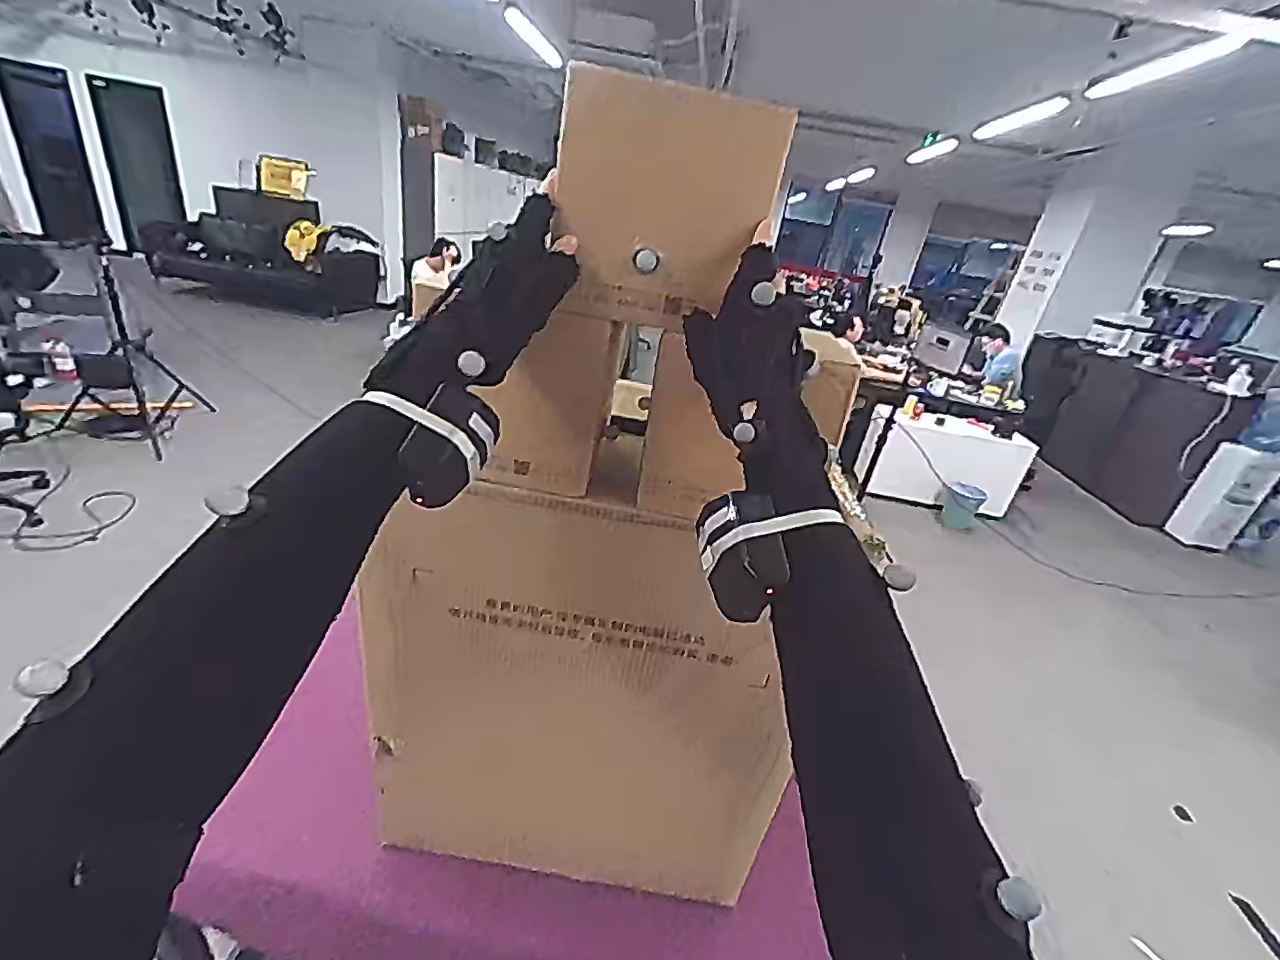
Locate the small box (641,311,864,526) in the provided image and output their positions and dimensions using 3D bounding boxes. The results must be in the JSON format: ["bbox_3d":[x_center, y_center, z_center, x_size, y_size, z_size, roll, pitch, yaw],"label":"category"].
[{"bbox_3d":[0.101,-0.072,0.541,0.168,0.176,0.179,12,24,4],"label":"small box"}]

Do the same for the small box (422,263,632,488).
[{"bbox_3d":[-0.107,-0.112,0.544,0.168,0.176,0.179,11,24,0],"label":"small box"}]

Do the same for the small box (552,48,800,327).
[{"bbox_3d":[0.019,-0.242,0.482,0.168,0.176,0.179,9,26,-5],"label":"small box"}]
